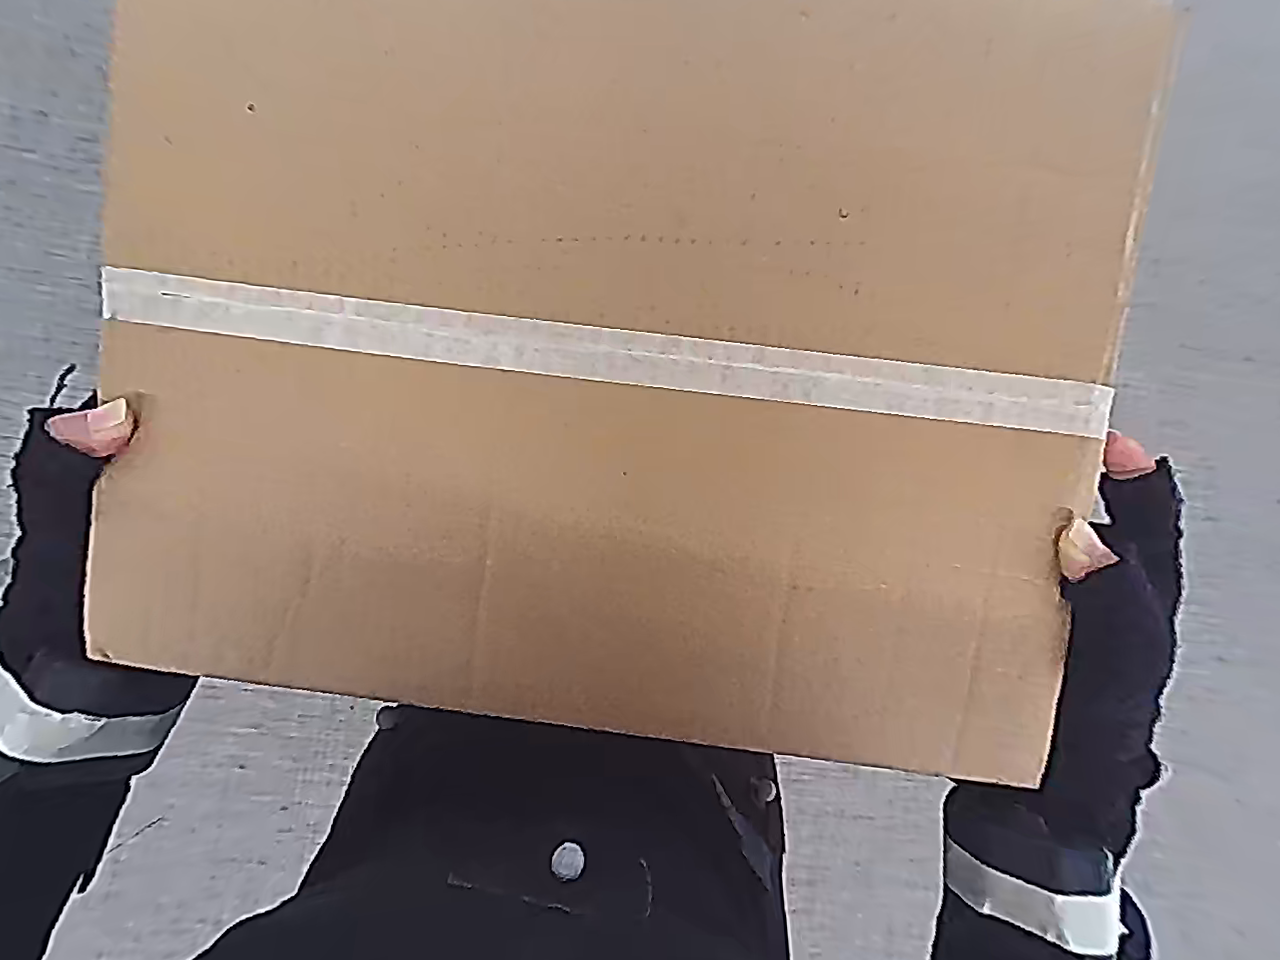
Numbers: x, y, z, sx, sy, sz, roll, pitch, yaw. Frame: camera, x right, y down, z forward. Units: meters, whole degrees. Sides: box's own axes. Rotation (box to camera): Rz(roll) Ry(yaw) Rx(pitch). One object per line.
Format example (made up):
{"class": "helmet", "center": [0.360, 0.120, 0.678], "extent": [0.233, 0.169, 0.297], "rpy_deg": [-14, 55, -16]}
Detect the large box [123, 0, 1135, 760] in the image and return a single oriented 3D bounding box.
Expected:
{"class": "large box", "center": [-0.013, -0.060, 0.377], "extent": [0.408, 0.320, 0.320], "rpy_deg": [7, 94, 1]}
